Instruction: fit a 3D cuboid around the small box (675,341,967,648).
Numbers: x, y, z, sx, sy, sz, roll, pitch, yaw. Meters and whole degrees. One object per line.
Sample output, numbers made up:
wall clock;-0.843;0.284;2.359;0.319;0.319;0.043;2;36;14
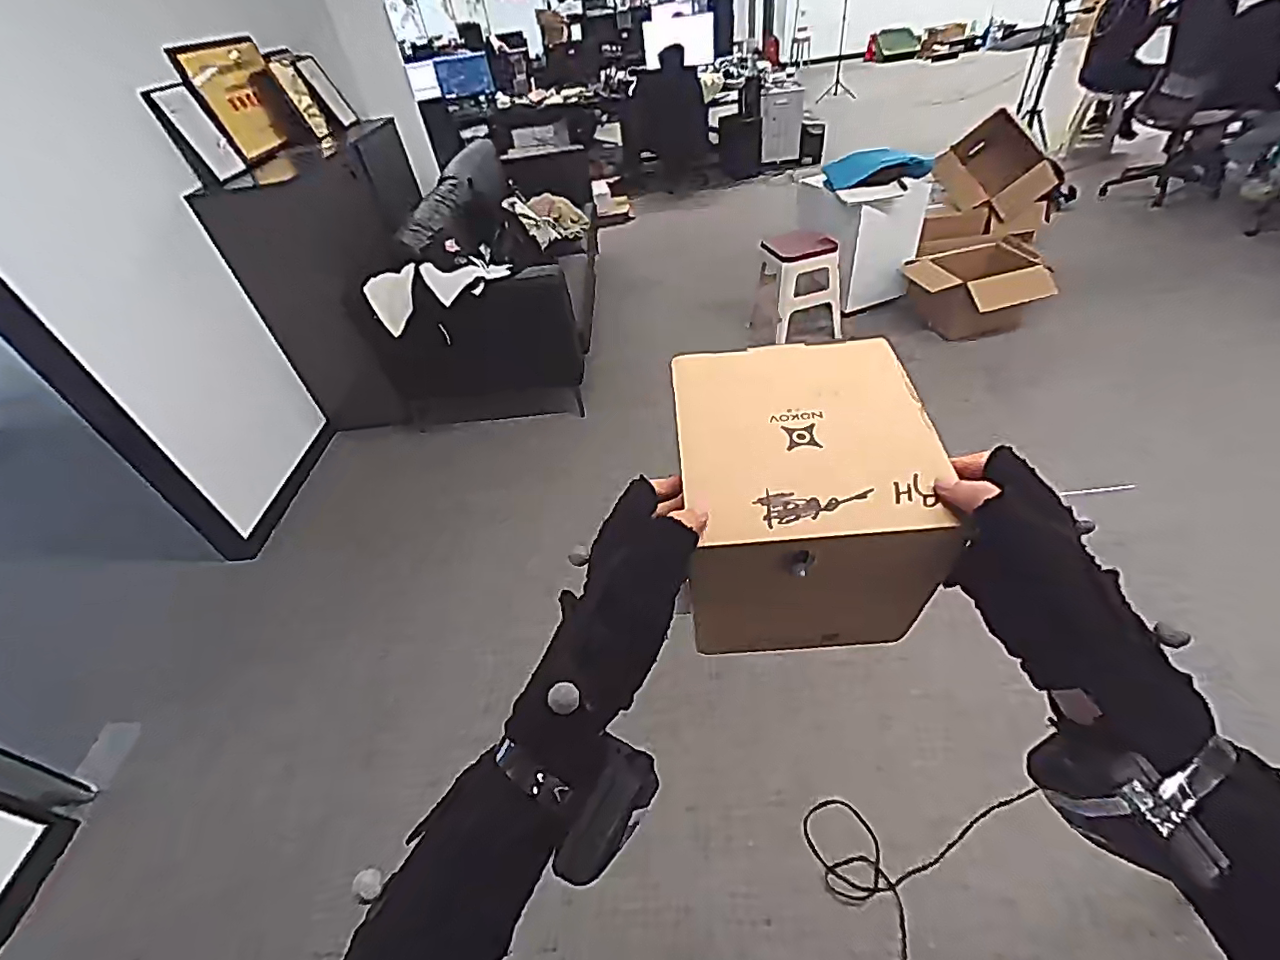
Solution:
small box;0.115;0.015;0.430;0.168;0.176;0.179;-5;50;5
